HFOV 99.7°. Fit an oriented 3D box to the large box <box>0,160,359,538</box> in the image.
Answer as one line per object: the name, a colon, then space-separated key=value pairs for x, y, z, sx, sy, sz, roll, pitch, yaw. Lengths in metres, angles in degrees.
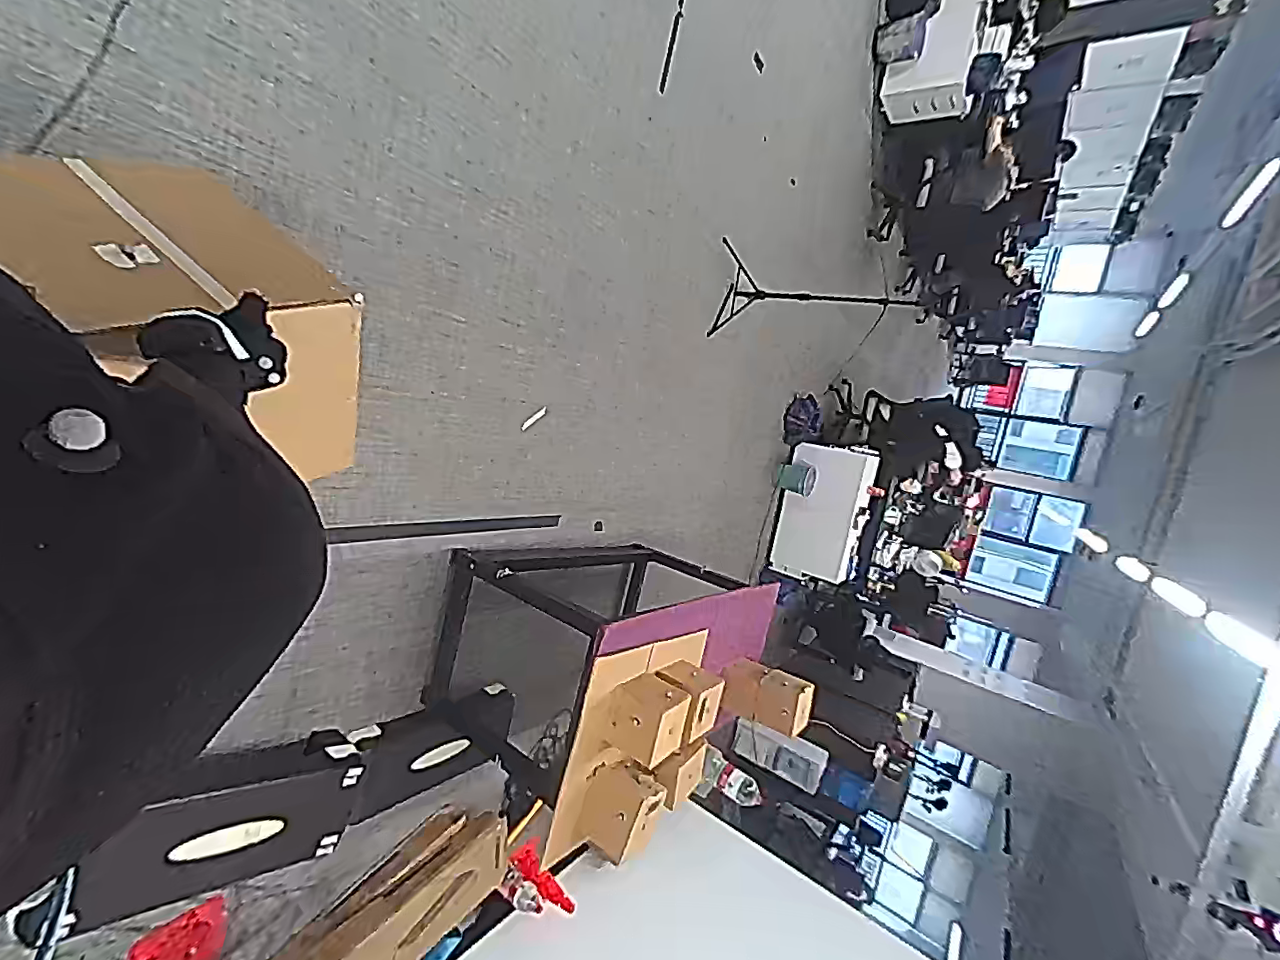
large box: x=-0.678 y=-0.197 z=0.773 sx=0.320 sy=0.408 sz=0.320 roll=-36 pitch=160 yaw=-48
